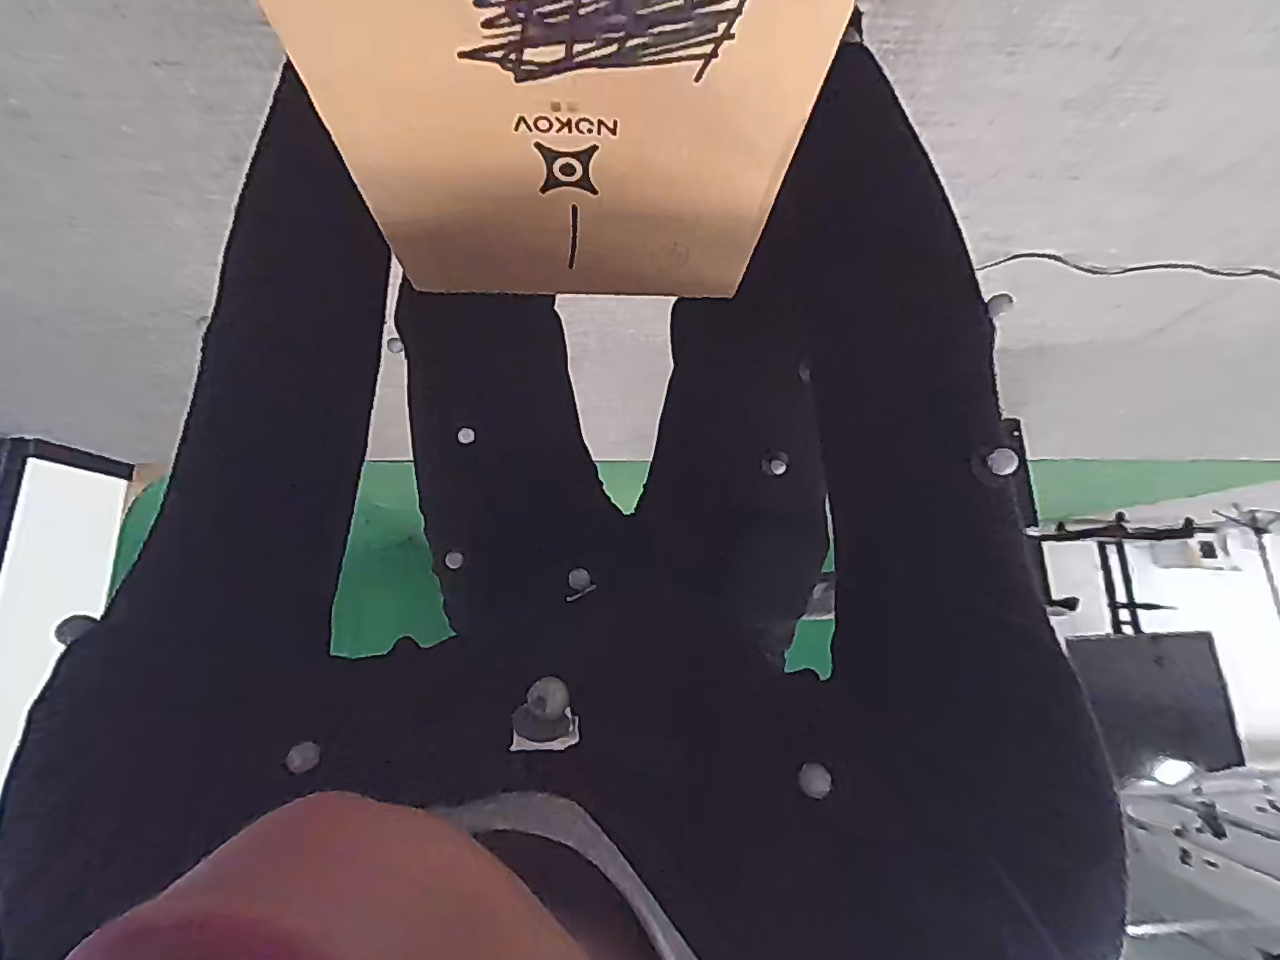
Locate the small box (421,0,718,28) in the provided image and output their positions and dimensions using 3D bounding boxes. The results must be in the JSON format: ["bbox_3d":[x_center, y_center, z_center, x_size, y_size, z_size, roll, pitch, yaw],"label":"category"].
[{"bbox_3d":[-0.033,-0.356,0.239,0.168,0.176,0.179,0,162,-4],"label":"small box"}]
